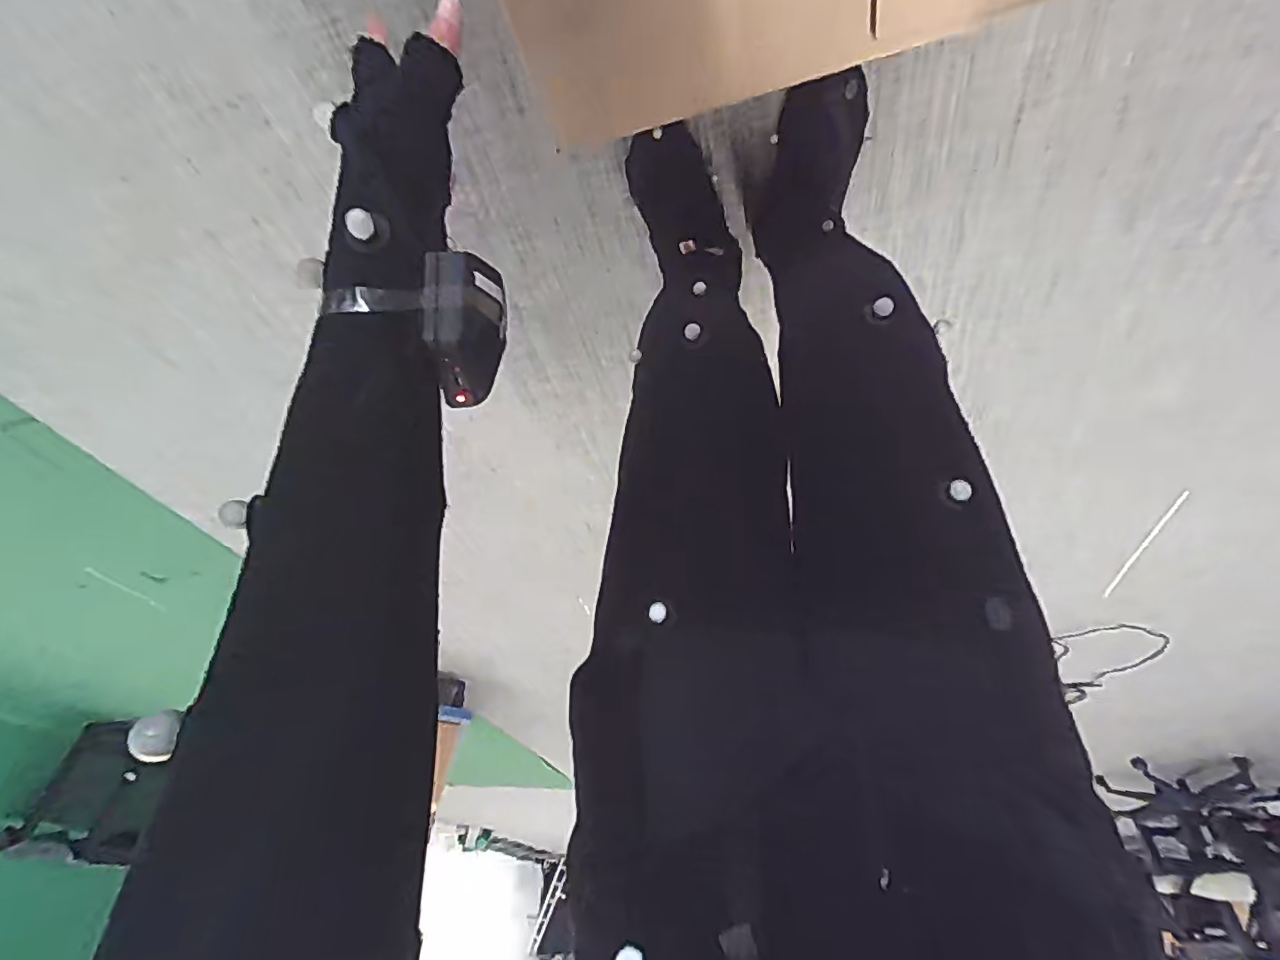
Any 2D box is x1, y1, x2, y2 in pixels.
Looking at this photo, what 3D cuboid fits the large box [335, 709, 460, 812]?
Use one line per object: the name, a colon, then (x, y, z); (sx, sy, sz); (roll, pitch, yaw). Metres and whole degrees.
large box: (-1.033, 1.217, 2.331); (0.408, 0.320, 0.320); (18, 140, -14)
